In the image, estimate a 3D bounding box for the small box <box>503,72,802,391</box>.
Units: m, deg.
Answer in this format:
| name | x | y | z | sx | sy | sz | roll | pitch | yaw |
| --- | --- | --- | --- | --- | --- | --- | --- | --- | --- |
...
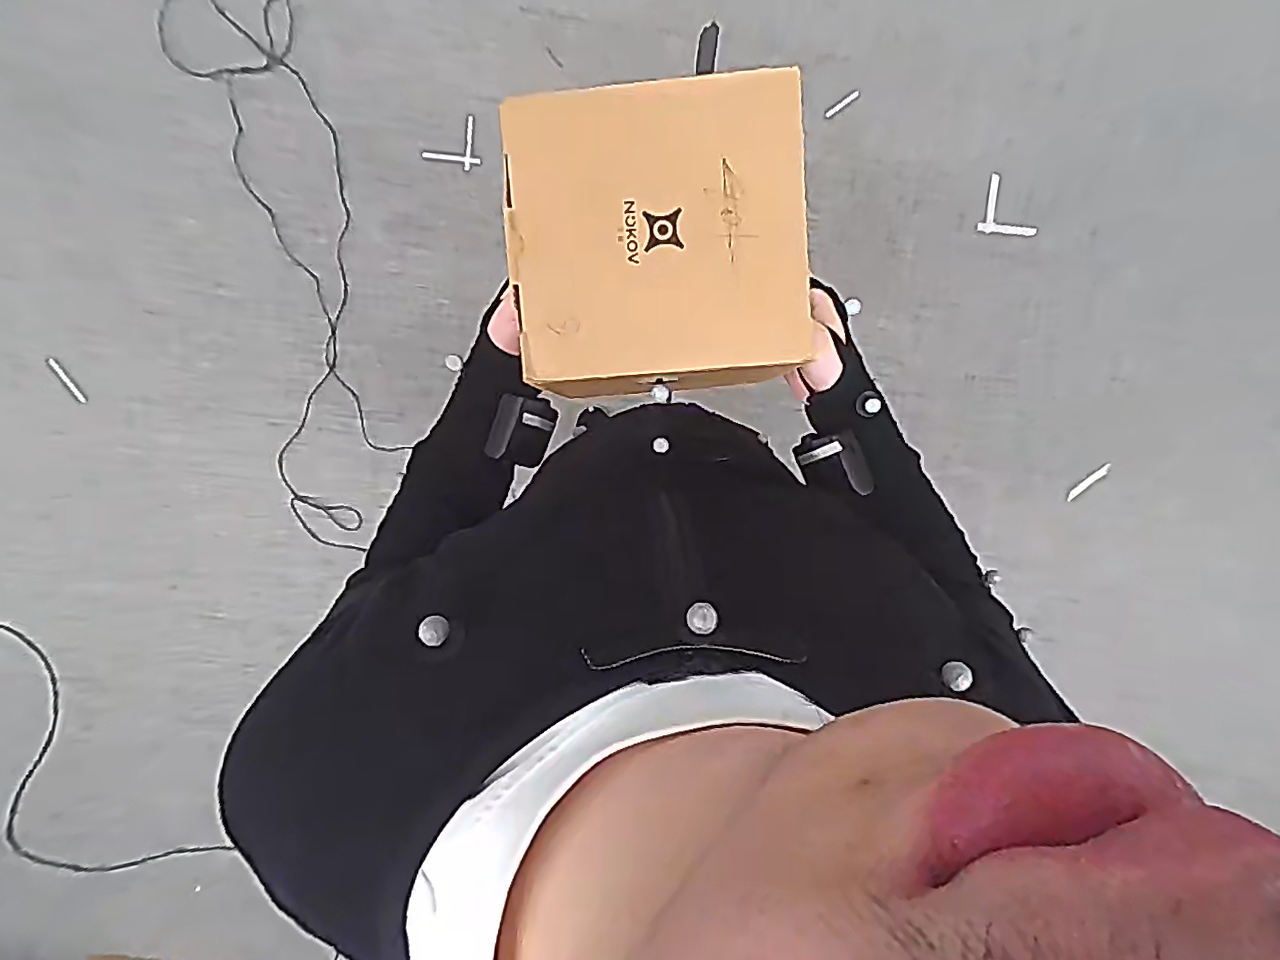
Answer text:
| name | x | y | z | sx | sy | sz | roll | pitch | yaw |
| --- | --- | --- | --- | --- | --- | --- | --- | --- | --- |
| small box | 0.013 | -0.159 | 0.406 | 0.179 | 0.176 | 0.168 | -4 | 96 | 3 |
